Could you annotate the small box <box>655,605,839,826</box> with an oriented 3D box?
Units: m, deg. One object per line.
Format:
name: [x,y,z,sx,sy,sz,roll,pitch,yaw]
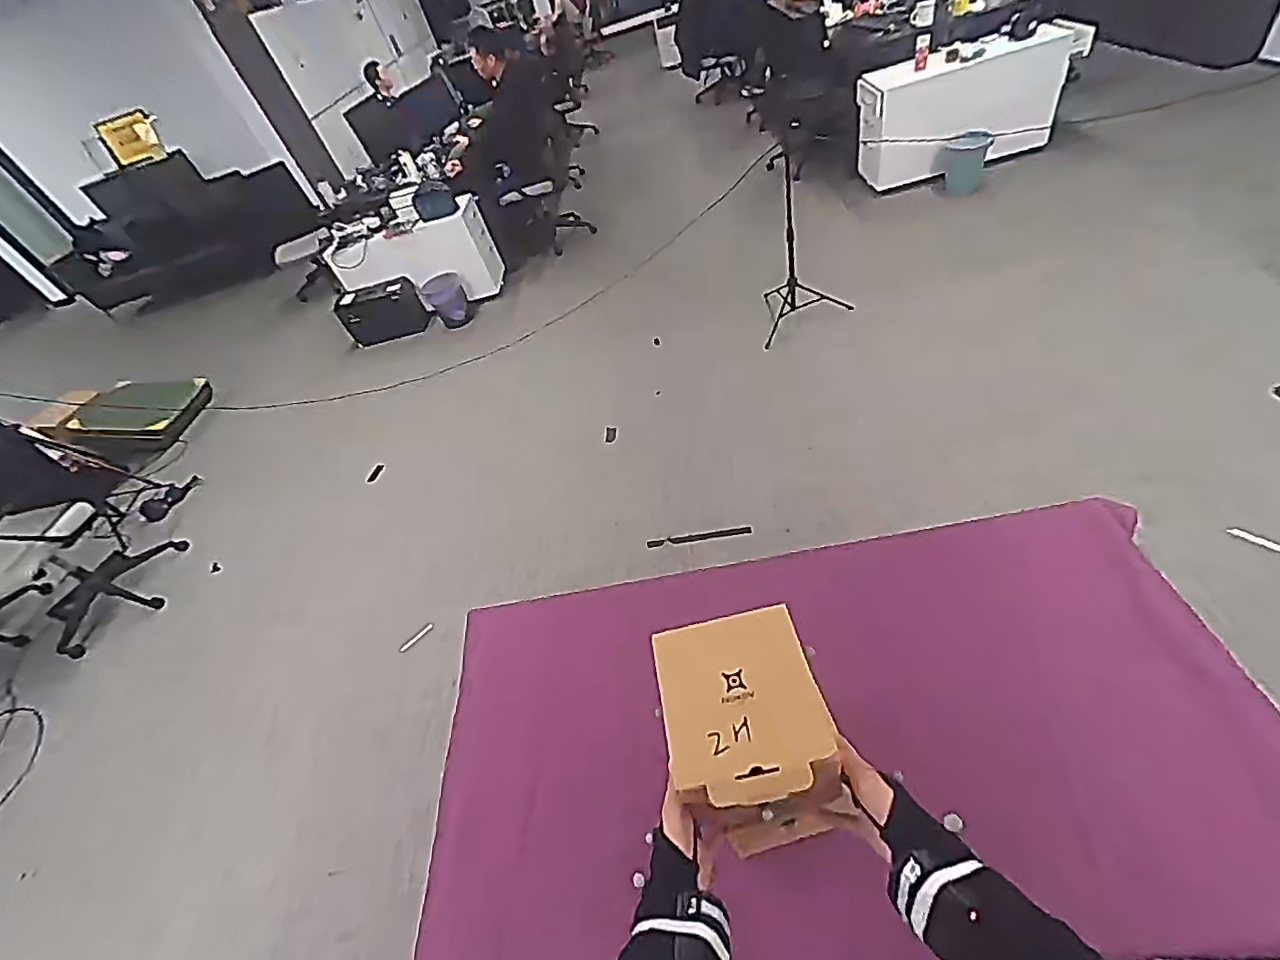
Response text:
small box: [0.121,0.279,0.639,0.168,0.176,0.179,-14,45,5]

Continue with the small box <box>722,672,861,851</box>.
small box: [0.185,0.388,0.752,0.179,0.176,0.168,-18,45,1]
